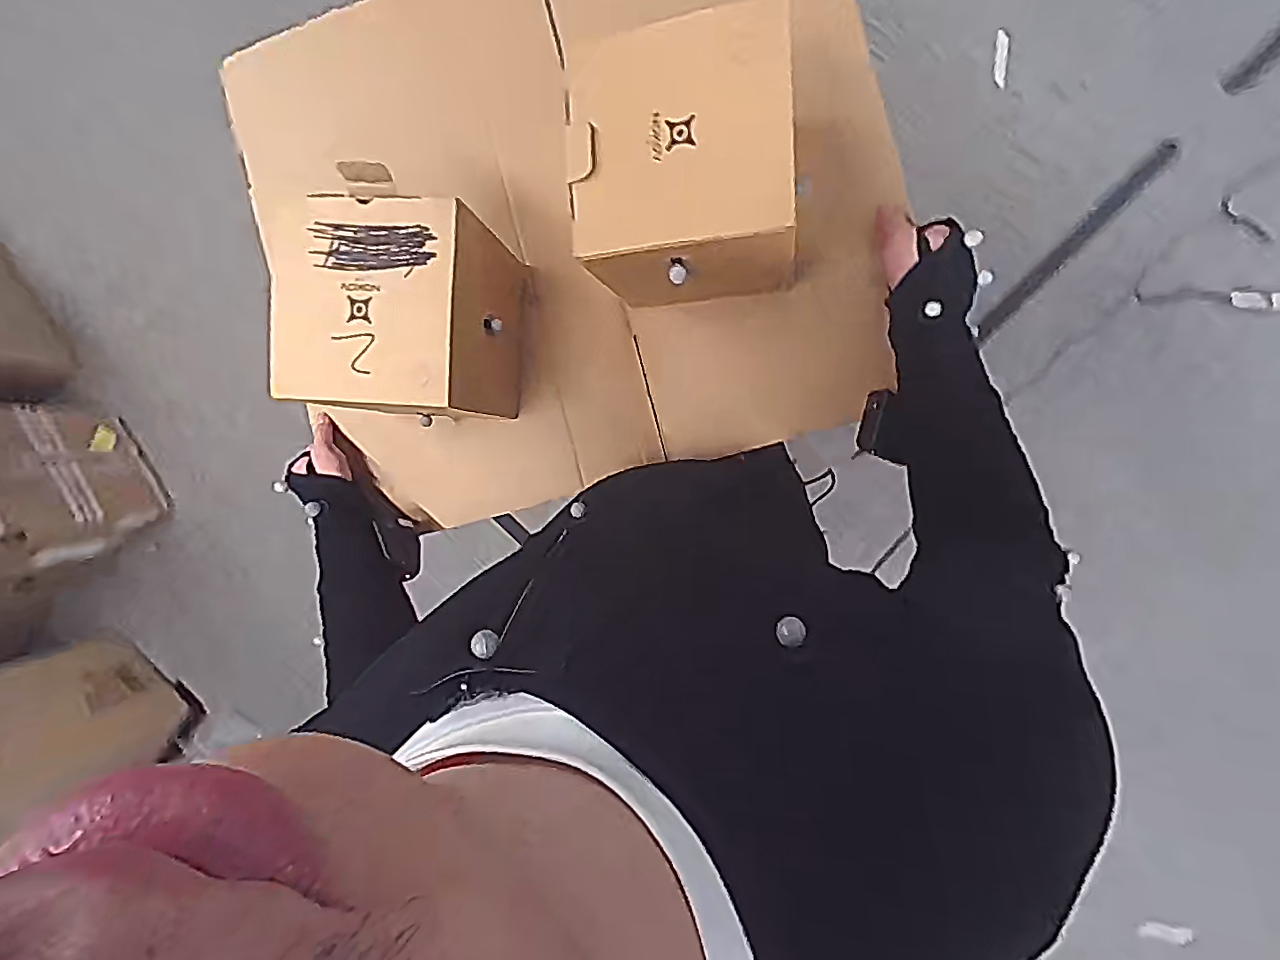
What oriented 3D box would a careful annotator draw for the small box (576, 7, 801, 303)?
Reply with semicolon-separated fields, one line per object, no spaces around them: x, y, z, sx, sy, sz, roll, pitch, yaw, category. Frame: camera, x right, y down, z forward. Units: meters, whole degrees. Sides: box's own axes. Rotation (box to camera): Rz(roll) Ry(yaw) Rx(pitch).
0.054;-0.270;0.498;0.179;0.176;0.168;0;94;16;small box
